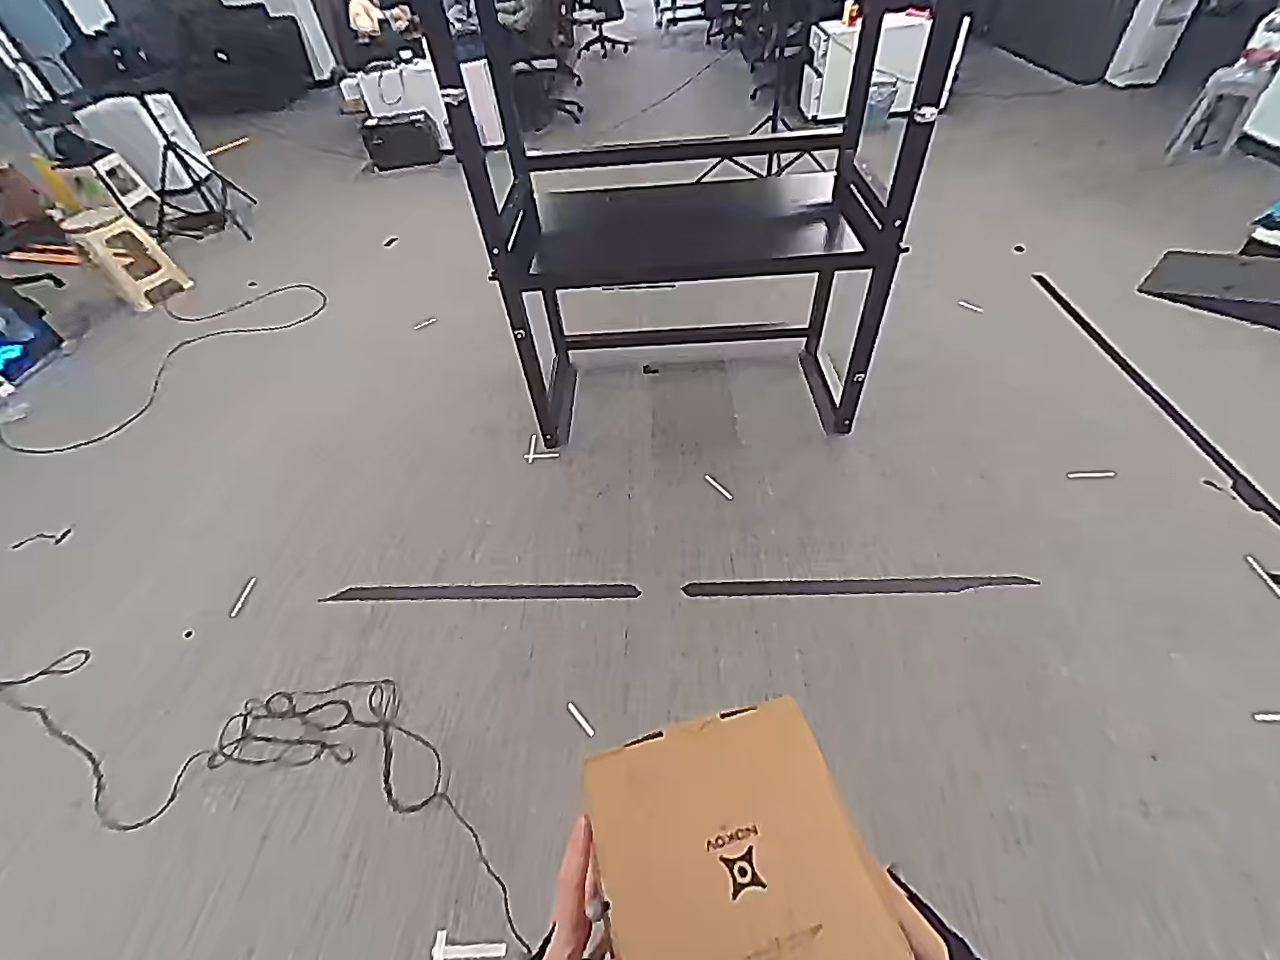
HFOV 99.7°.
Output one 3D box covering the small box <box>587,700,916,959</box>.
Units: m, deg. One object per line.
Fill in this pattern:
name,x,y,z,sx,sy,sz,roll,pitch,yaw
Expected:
small box,0.057,0.293,0.398,0.168,0.176,0.179,-9,52,-14
